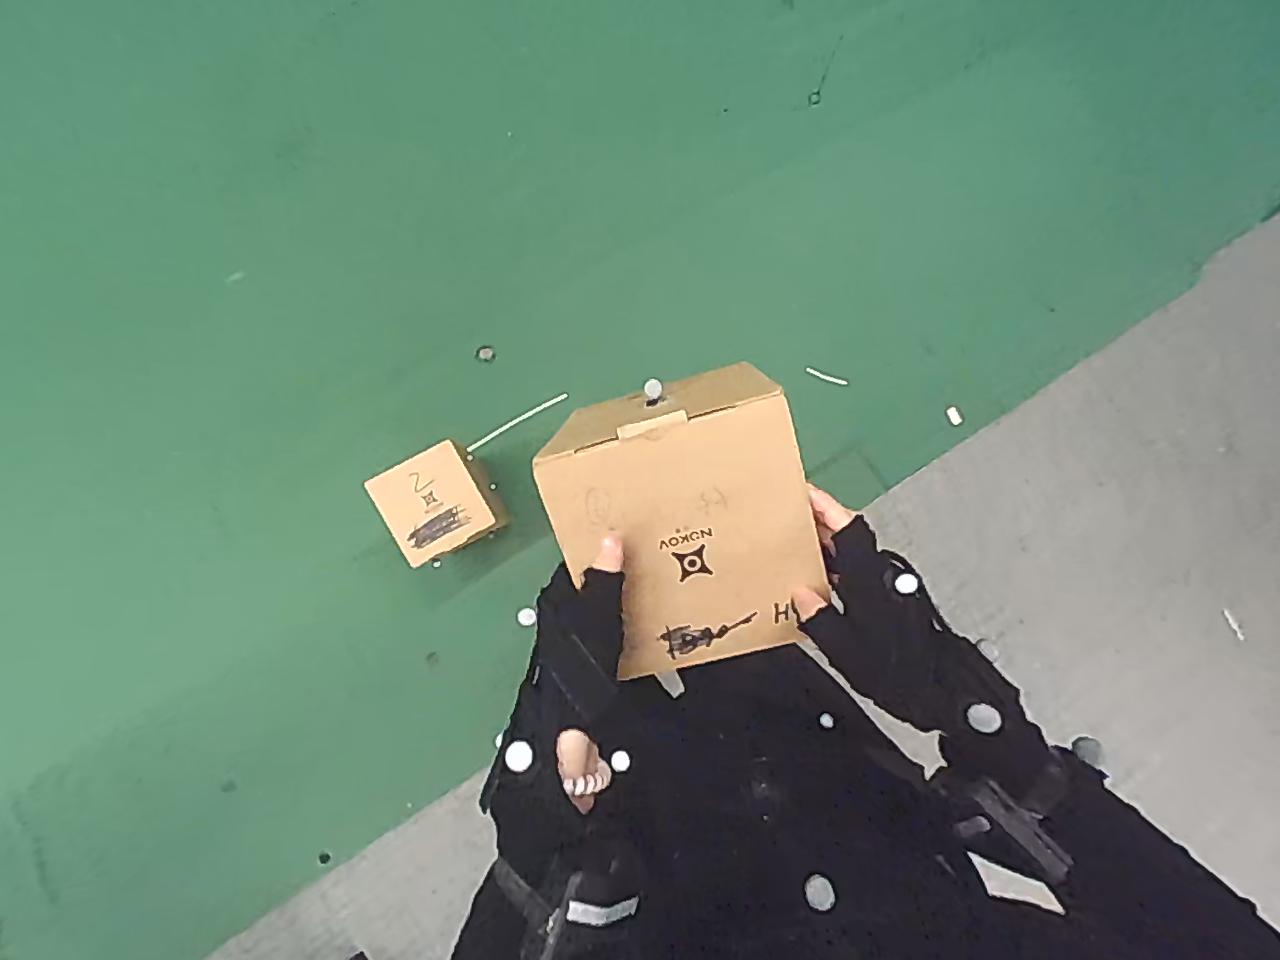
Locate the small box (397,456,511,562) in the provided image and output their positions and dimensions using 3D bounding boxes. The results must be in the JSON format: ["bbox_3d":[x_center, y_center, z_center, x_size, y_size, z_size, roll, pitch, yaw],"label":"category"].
[{"bbox_3d":[-0.401,0.061,1.201,0.168,0.176,0.179,-27,91,-8],"label":"small box"}]

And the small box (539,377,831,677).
[{"bbox_3d":[0.037,0.023,0.444,0.168,0.176,0.179,-16,108,9],"label":"small box"}]
